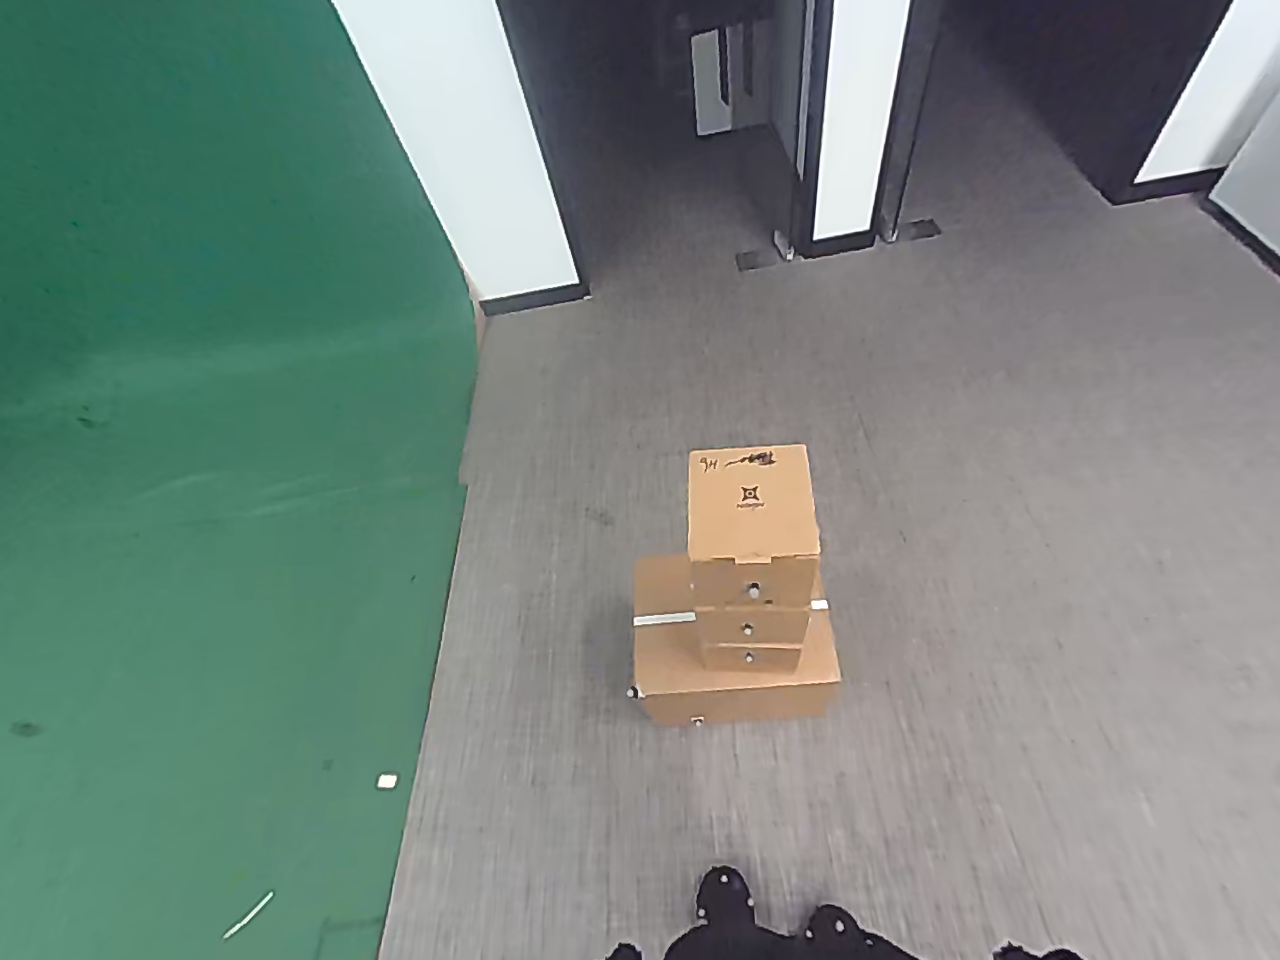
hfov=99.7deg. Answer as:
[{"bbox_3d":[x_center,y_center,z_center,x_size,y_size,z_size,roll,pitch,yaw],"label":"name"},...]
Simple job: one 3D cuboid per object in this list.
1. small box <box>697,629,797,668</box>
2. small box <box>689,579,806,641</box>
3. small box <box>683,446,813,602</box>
[{"bbox_3d":[0.206,0.261,1.052,0.179,0.176,0.168,-1,58,9],"label":"small box"},{"bbox_3d":[0.181,0.168,0.920,0.179,0.176,0.168,-3,57,12],"label":"small box"},{"bbox_3d":[0.156,0.071,0.790,0.168,0.176,0.179,-2,58,10],"label":"small box"}]
